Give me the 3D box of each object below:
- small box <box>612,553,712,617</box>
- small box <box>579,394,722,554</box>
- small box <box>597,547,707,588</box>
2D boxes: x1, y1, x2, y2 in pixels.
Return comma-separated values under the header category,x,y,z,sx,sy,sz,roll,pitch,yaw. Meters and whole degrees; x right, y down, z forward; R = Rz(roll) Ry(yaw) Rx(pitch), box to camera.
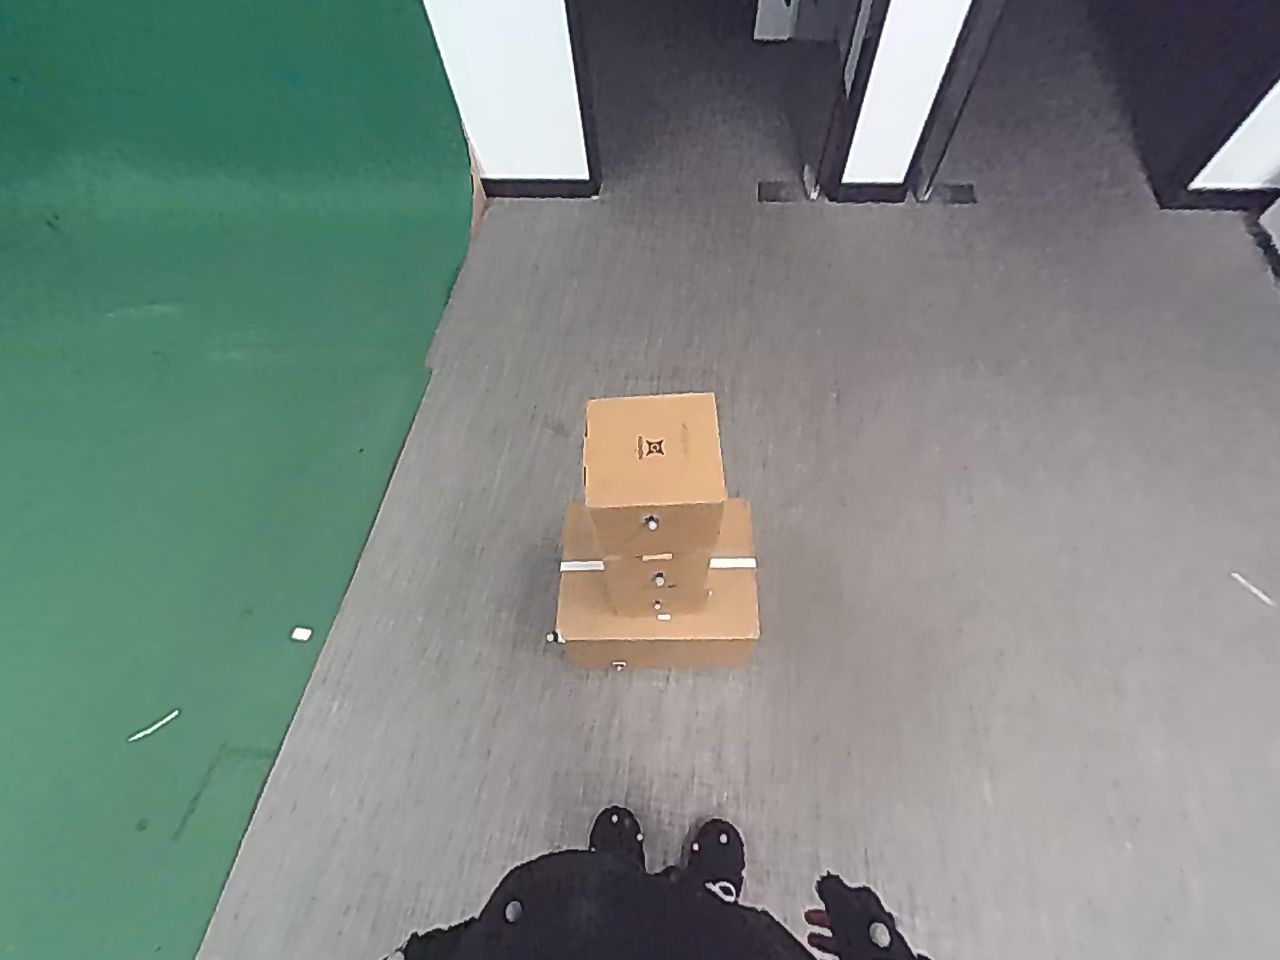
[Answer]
category,x,y,z,sx,sy,sz,roll,pitch,yaw
small box,0.035,0.158,1.040,0.179,0.176,0.168,-5,61,0
small box,0.016,-0.001,0.756,0.179,0.176,0.168,-3,62,1
small box,0.021,0.075,0.900,0.168,0.176,0.179,-4,61,2
